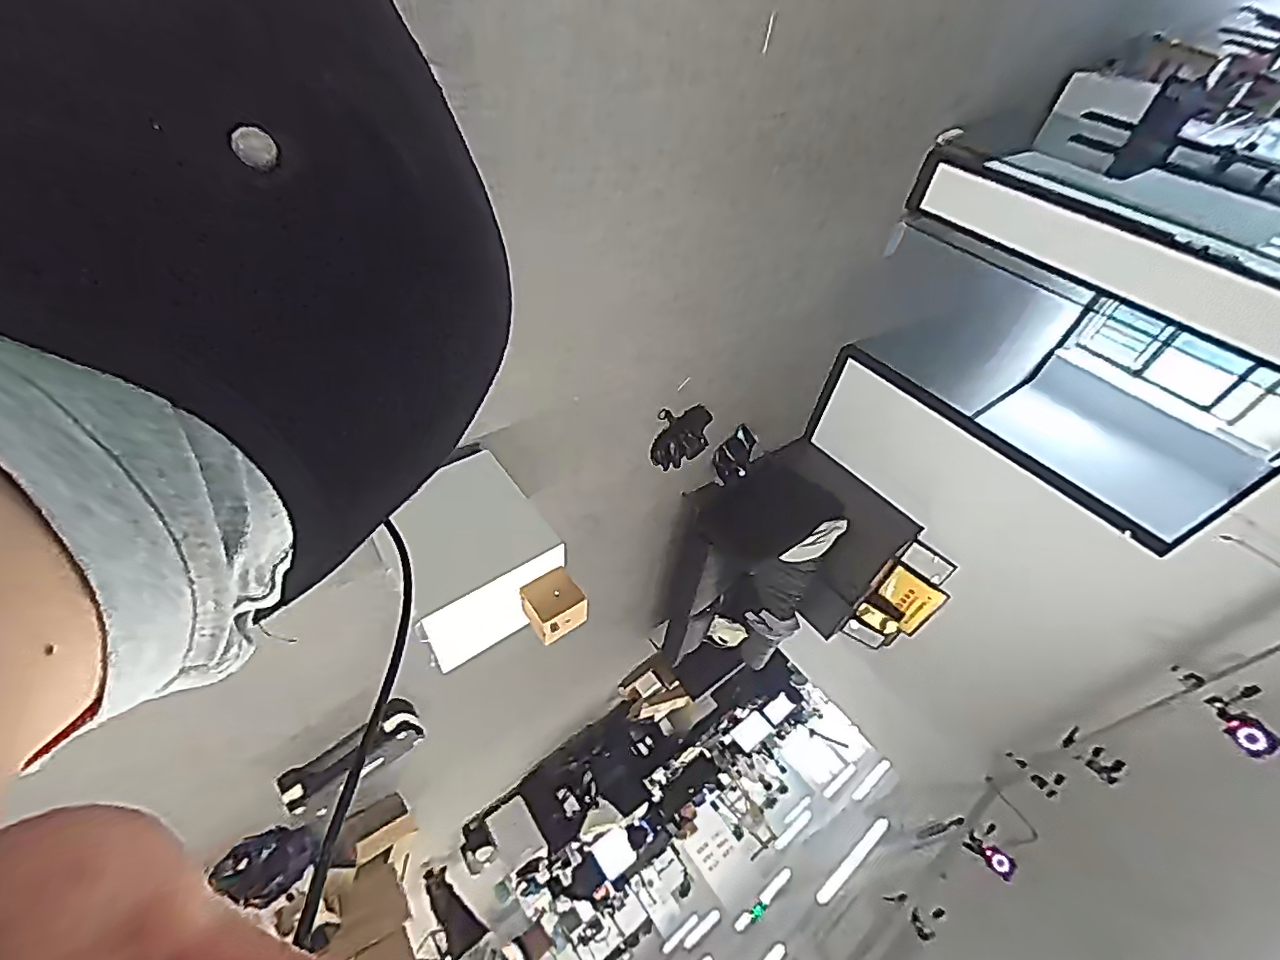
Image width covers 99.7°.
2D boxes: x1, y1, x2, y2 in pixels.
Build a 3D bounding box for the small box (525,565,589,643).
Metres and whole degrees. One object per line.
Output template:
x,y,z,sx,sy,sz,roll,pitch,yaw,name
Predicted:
-0.300,0.439,1.931,0.179,0.176,0.168,-28,147,-27,small box
